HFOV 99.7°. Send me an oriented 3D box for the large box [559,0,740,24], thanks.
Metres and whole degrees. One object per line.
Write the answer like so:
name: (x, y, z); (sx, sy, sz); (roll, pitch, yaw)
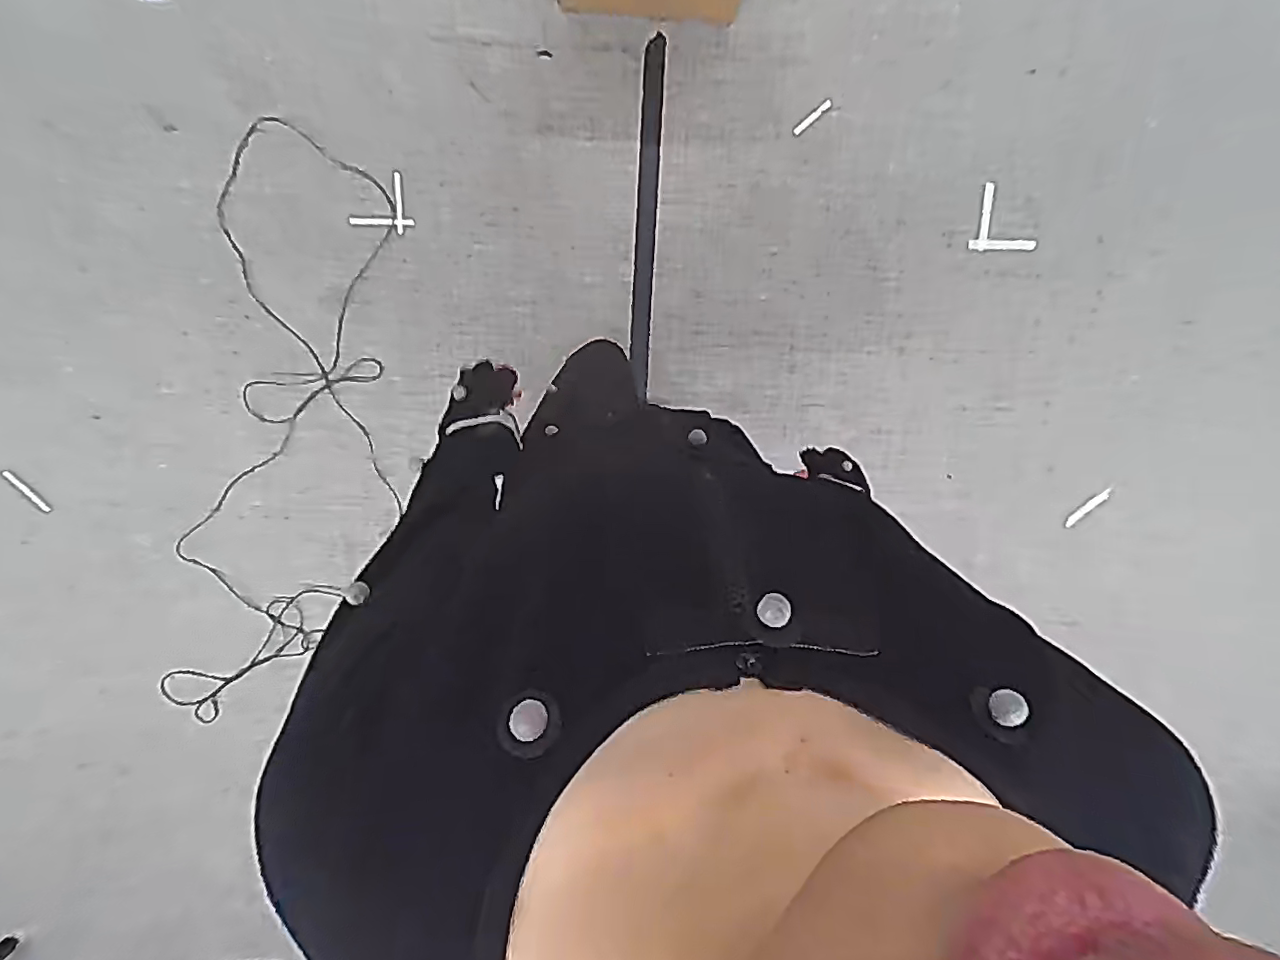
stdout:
large box: (0.026, -1.180, 1.079); (0.408, 0.320, 0.320); (2, 103, -2)
